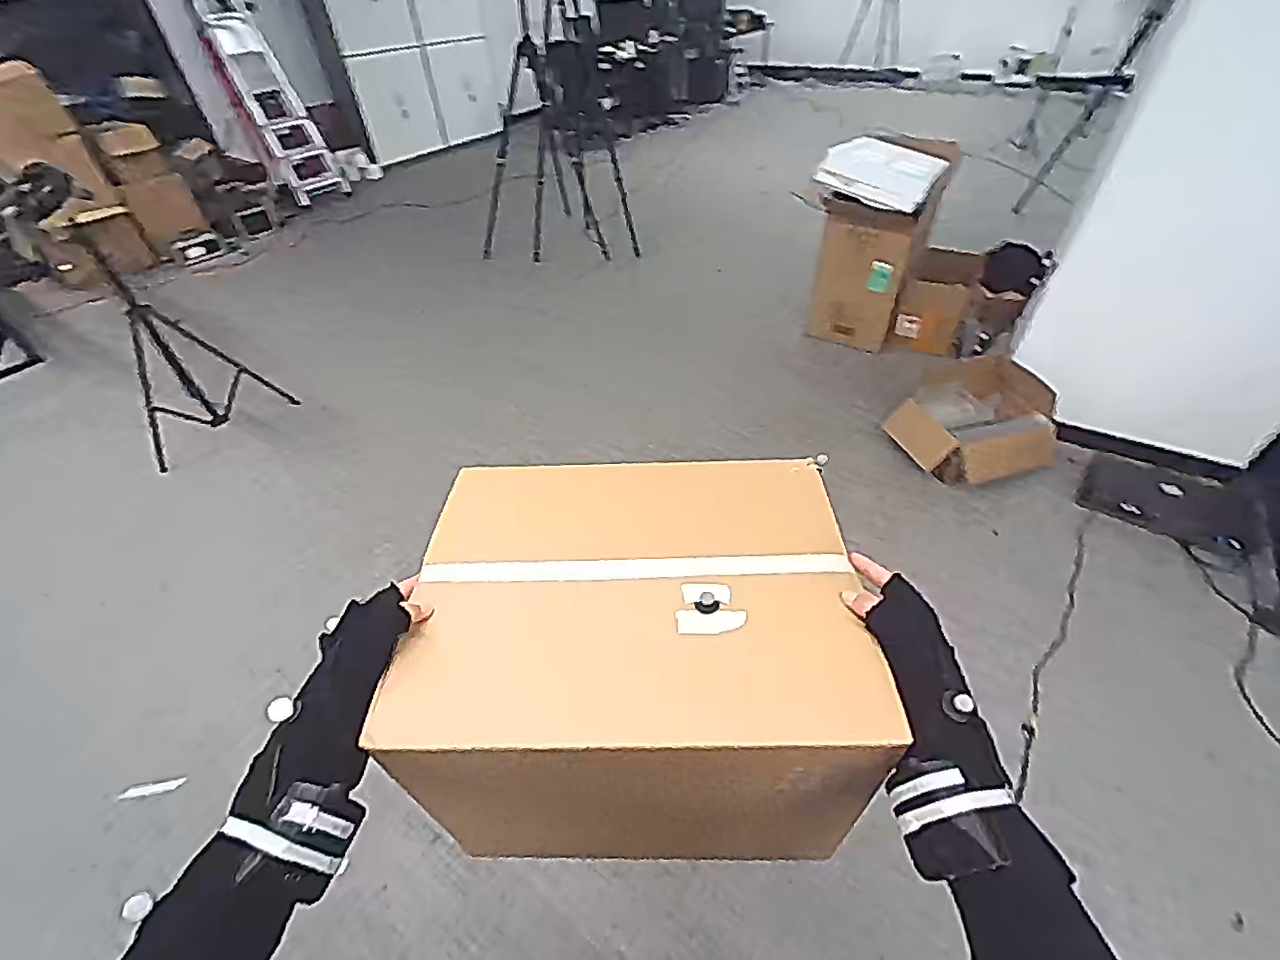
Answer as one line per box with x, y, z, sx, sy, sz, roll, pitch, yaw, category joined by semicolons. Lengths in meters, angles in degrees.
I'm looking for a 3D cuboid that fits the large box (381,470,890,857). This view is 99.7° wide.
-0.002;0.207;0.622;0.408;0.320;0.320;-2;42;2;large box
